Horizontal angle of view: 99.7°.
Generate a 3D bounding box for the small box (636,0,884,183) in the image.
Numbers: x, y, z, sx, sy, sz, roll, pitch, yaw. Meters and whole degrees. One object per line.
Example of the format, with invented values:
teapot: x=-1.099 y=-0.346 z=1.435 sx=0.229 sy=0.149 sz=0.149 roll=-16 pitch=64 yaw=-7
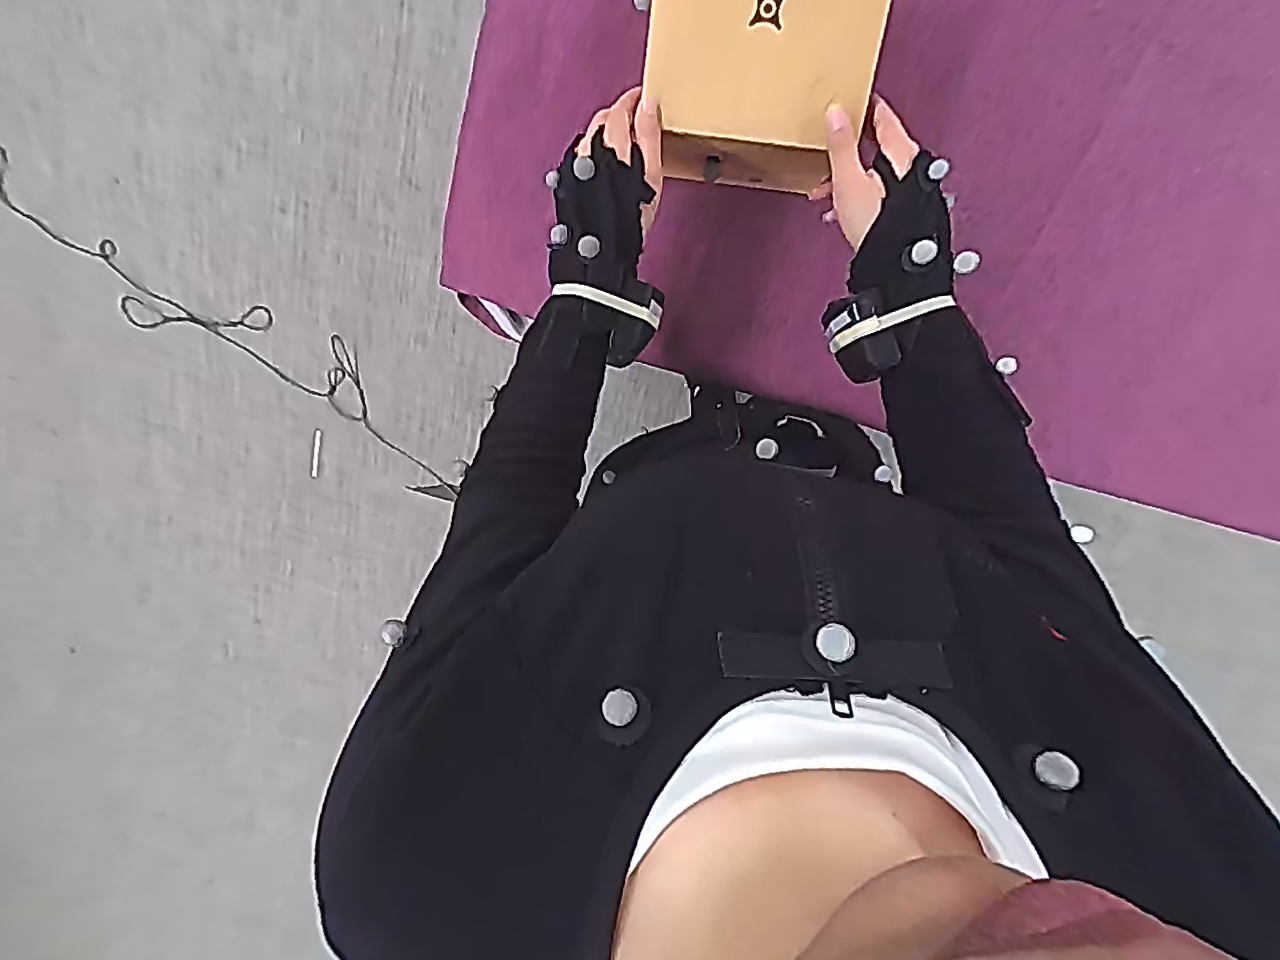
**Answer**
small box: x=0.096 y=-0.365 z=0.450 sx=0.168 sy=0.176 sz=0.179 roll=8 pitch=108 yaw=3
